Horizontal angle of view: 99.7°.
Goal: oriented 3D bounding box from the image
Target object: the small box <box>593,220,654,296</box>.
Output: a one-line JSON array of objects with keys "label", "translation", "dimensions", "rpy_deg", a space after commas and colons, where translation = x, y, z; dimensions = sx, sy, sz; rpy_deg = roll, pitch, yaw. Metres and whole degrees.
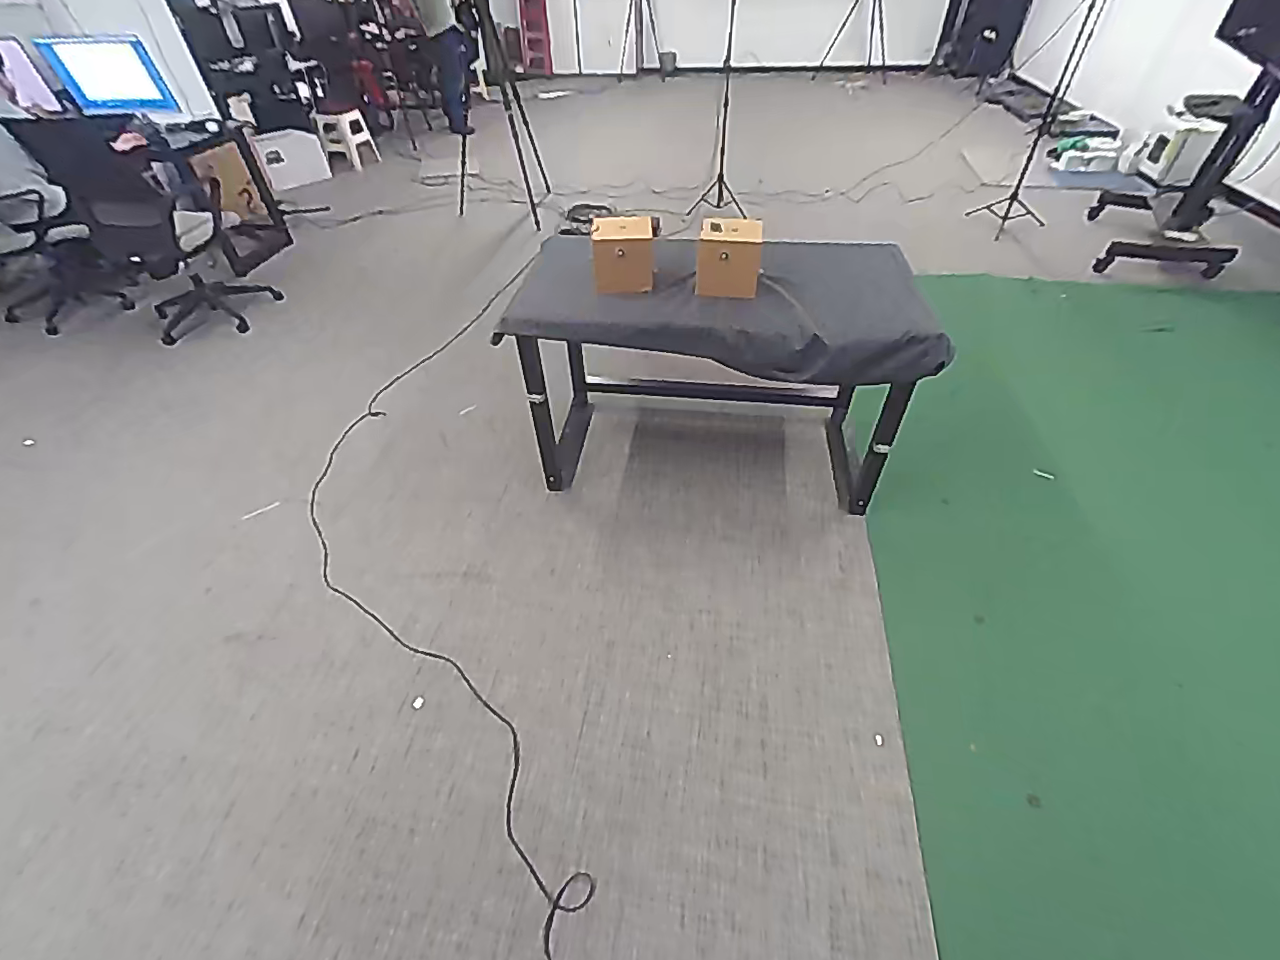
[{"label": "small box", "translation": [-0.047, -0.672, 1.641], "dimensions": [0.179, 0.176, 0.168], "rpy_deg": [-1, 46, -1]}]

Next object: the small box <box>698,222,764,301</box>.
[{"label": "small box", "translation": [0.267, -0.646, 1.601], "dimensions": [0.179, 0.176, 0.168], "rpy_deg": [6, 45, 7]}]
